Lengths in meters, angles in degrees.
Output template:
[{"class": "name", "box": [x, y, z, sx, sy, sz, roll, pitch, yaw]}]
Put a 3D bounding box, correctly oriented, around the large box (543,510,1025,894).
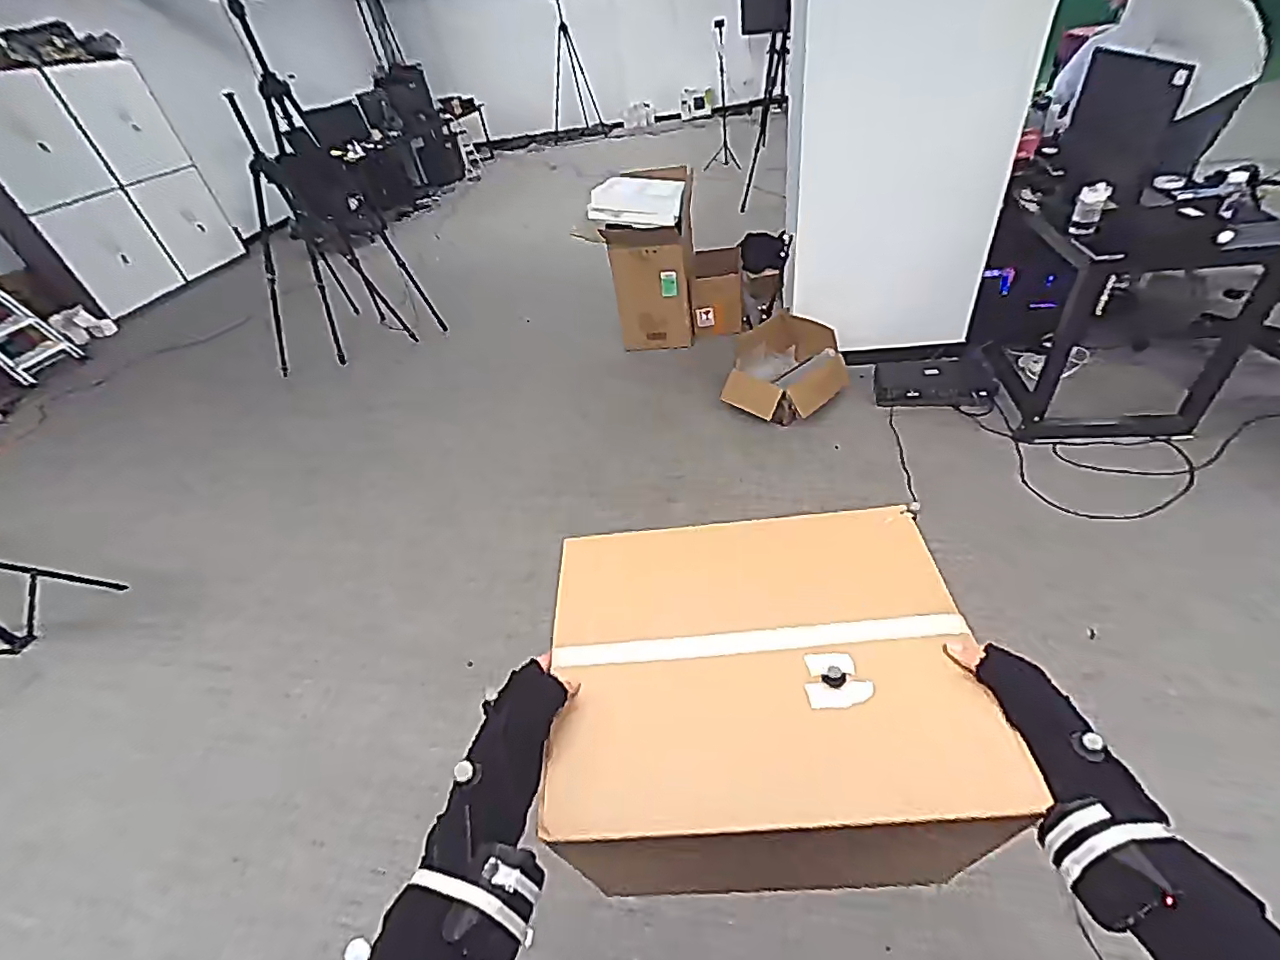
[{"class": "large box", "box": [0.125, 0.270, 0.650, 0.408, 0.320, 0.320, -6, 45, 4]}]
